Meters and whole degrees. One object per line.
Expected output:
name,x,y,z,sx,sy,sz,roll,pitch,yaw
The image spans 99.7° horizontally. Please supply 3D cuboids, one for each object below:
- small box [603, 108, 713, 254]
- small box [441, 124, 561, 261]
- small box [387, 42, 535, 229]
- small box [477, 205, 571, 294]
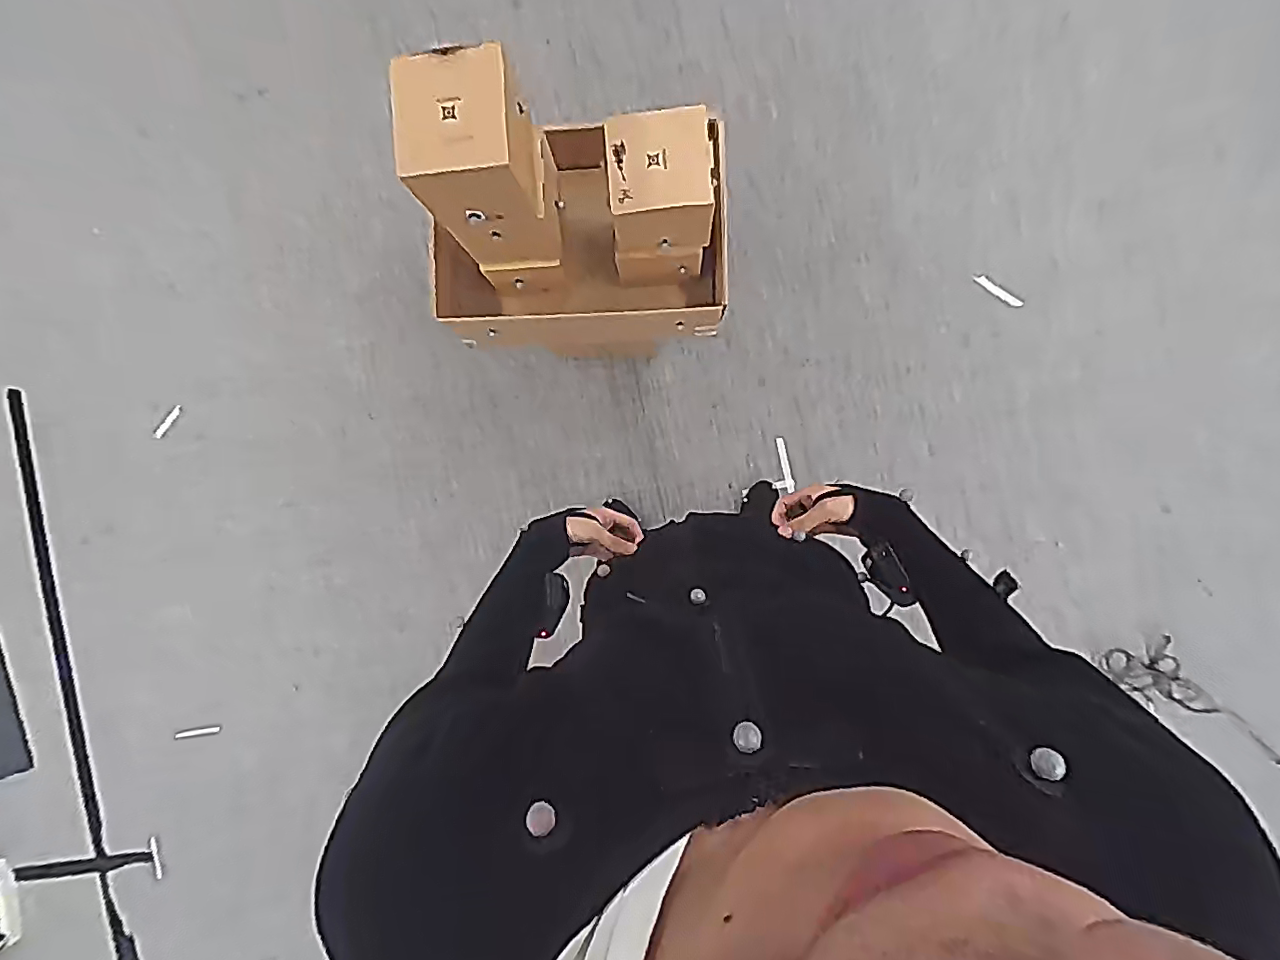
small box,0.033,-0.526,0.972,0.179,0.176,0.168,-4,90,4
small box,-0.249,-0.516,0.993,0.179,0.176,0.168,-2,90,3
small box,-0.264,-0.515,0.830,0.168,0.176,0.179,-4,89,4
small box,-0.244,-0.508,1.158,0.168,0.176,0.179,-3,89,3
